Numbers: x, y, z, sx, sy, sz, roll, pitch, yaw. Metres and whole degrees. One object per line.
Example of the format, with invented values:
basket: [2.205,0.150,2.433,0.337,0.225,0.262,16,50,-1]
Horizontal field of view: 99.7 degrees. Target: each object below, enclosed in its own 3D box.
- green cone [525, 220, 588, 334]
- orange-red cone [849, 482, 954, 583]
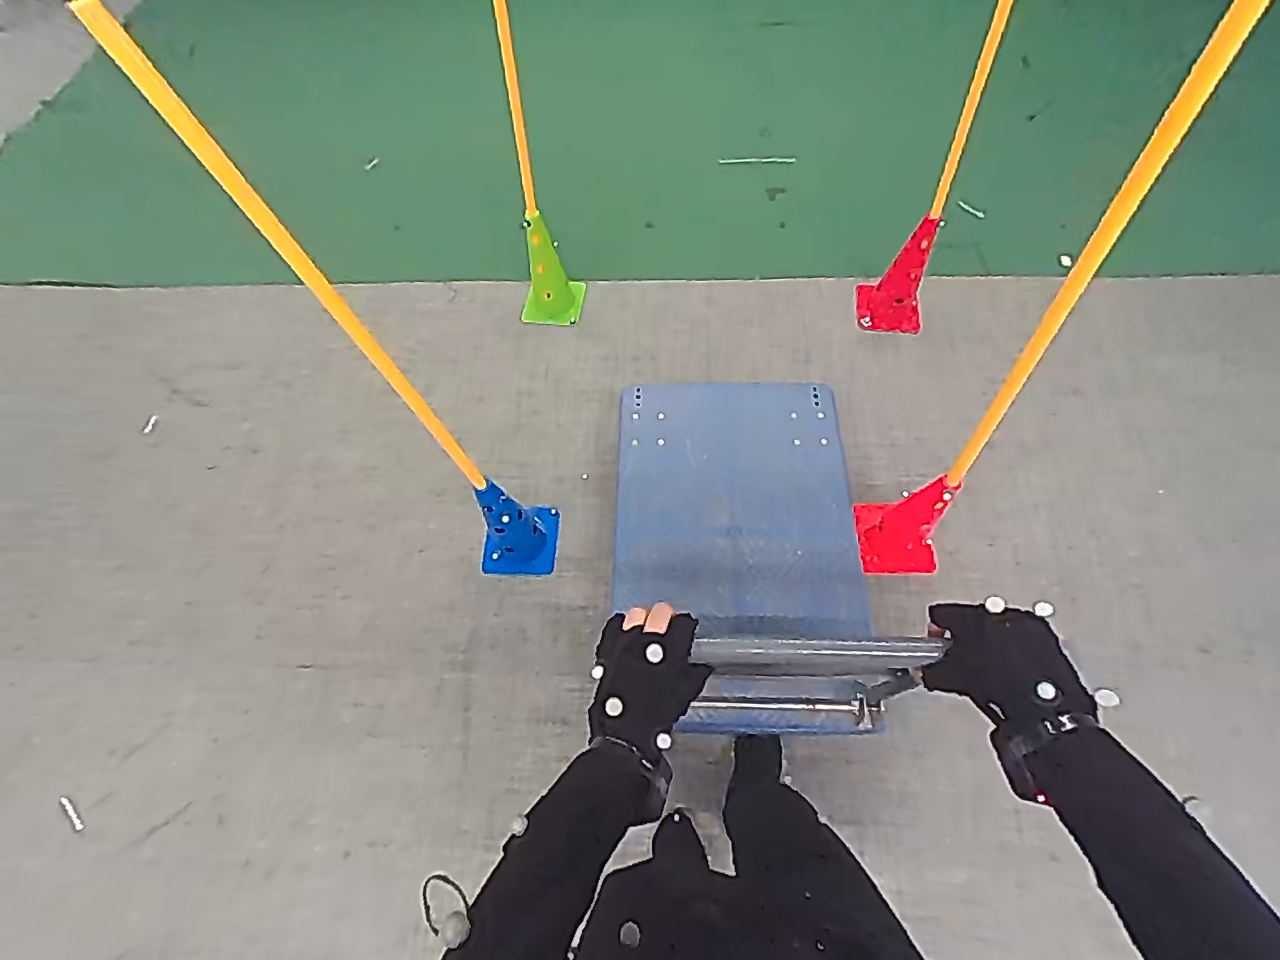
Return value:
green cone: [-0.303,-0.675,1.755,0.202,0.368,0.200,5,63,6]
orange-red cone: [0.666,0.104,1.313,0.199,0.360,0.198,0,62,5]
